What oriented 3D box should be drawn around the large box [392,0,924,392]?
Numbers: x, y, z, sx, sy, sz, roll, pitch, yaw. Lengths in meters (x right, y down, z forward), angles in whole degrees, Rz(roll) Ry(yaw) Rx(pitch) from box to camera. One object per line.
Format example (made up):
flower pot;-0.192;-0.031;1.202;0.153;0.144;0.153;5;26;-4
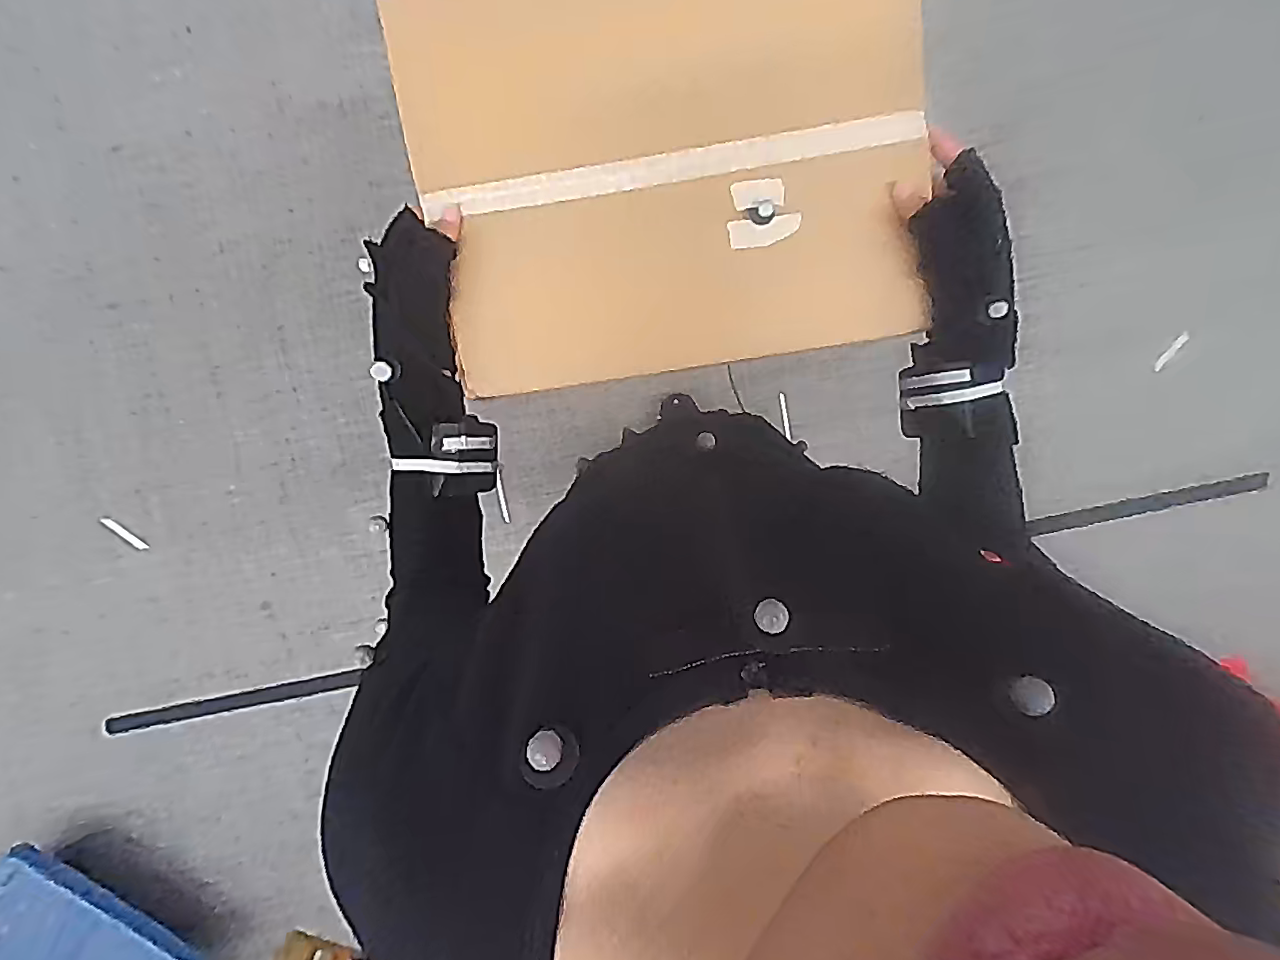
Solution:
large box;0.023;-0.287;0.588;0.408;0.320;0.320;-9;102;1
